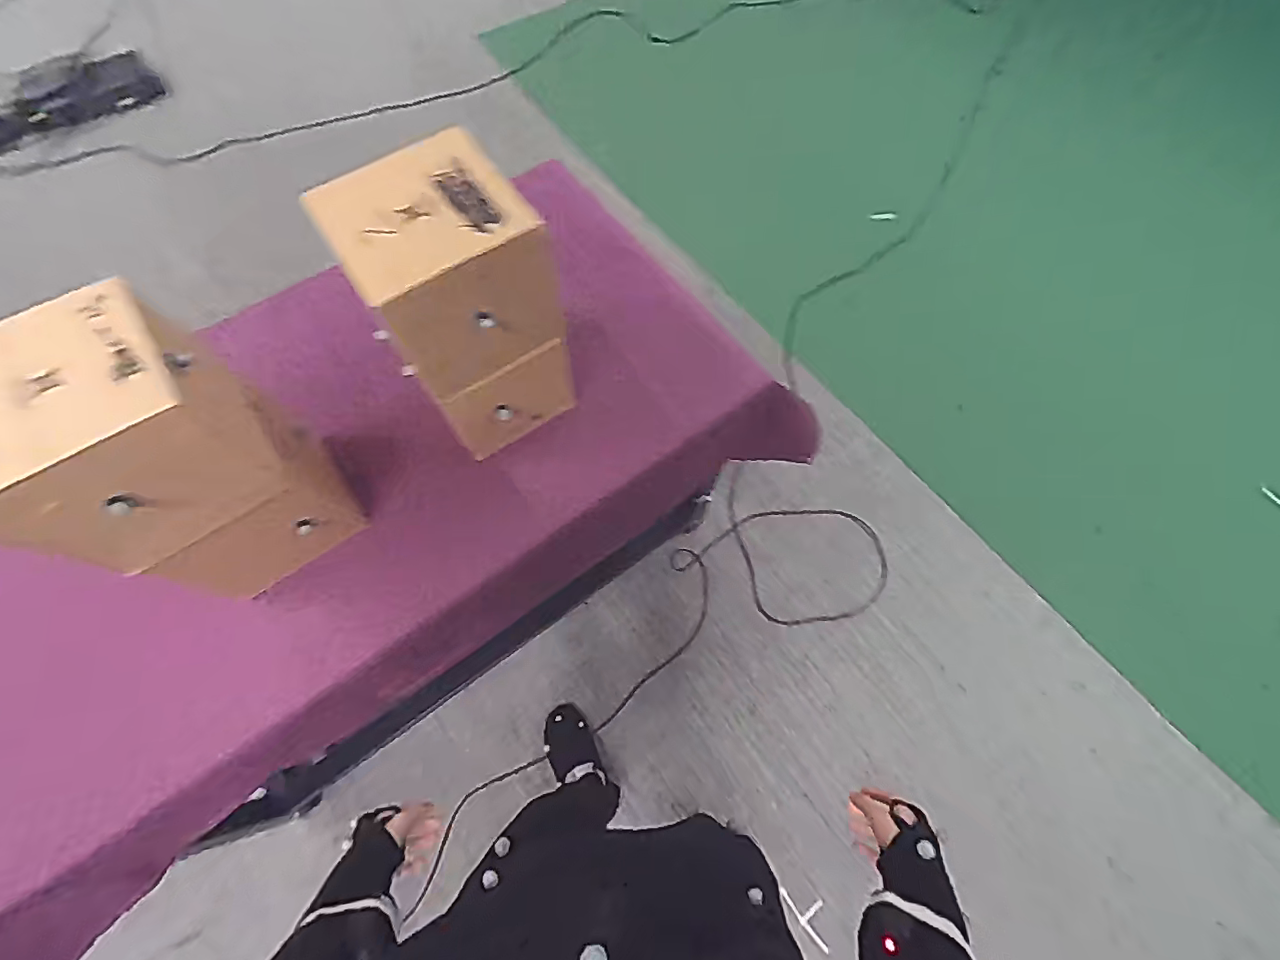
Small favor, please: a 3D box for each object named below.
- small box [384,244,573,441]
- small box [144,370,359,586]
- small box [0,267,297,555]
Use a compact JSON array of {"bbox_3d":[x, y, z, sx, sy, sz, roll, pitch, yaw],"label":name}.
[{"bbox_3d":[-0.208,-0.175,0.744,0.168,0.176,0.179,-33,72,-13],"label":"small box"},{"bbox_3d":[-0.479,0.005,0.666,0.179,0.176,0.168,-34,72,-13],"label":"small box"},{"bbox_3d":[-0.479,-0.053,0.512,0.179,0.176,0.168,-34,72,-13],"label":"small box"}]
